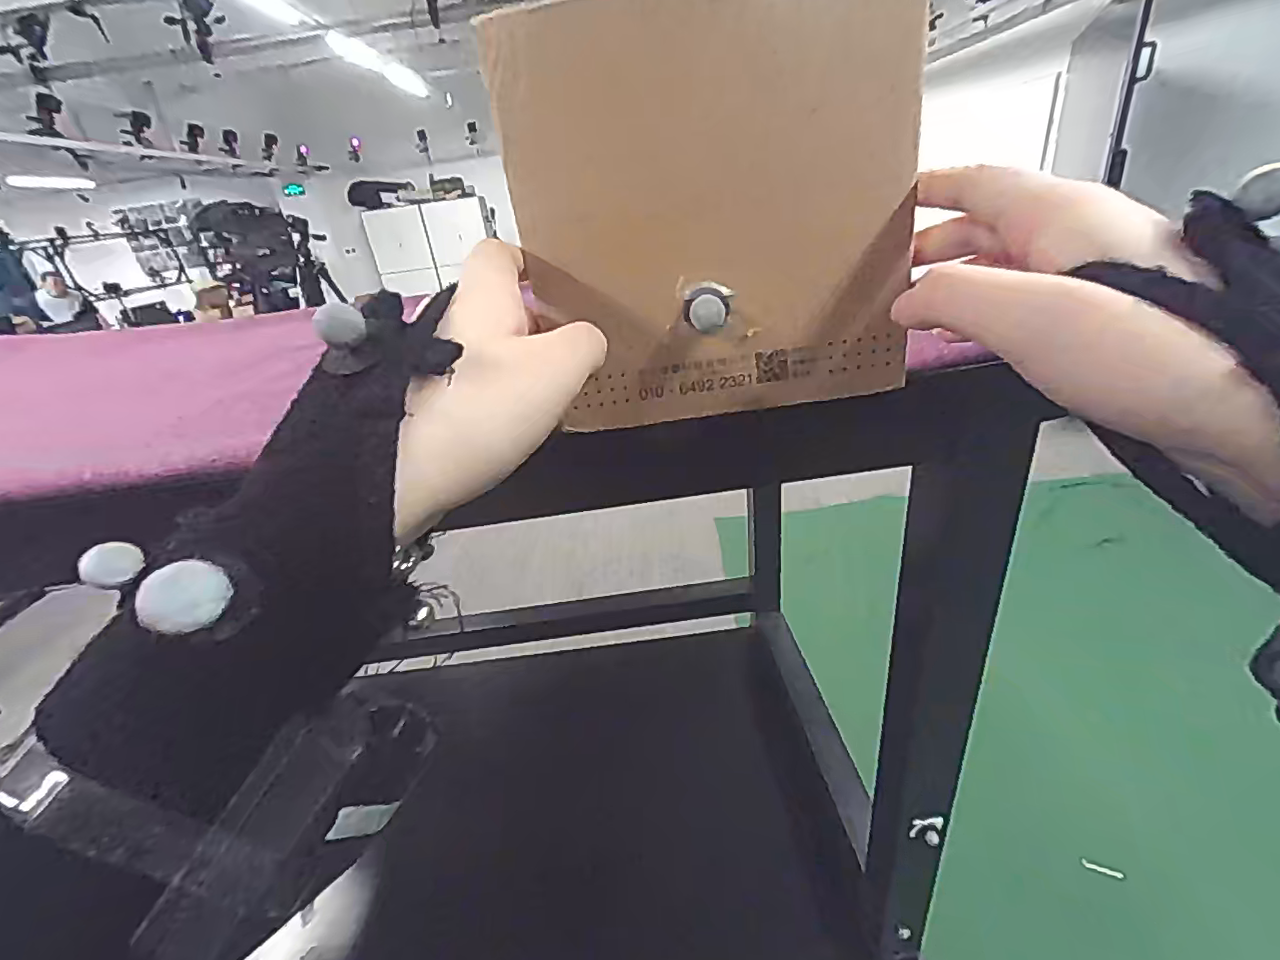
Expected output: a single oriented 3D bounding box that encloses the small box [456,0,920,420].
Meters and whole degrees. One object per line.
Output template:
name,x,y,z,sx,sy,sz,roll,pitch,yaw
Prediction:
small box,0.029,-0.145,0.295,0.168,0.176,0.179,-7,27,7
